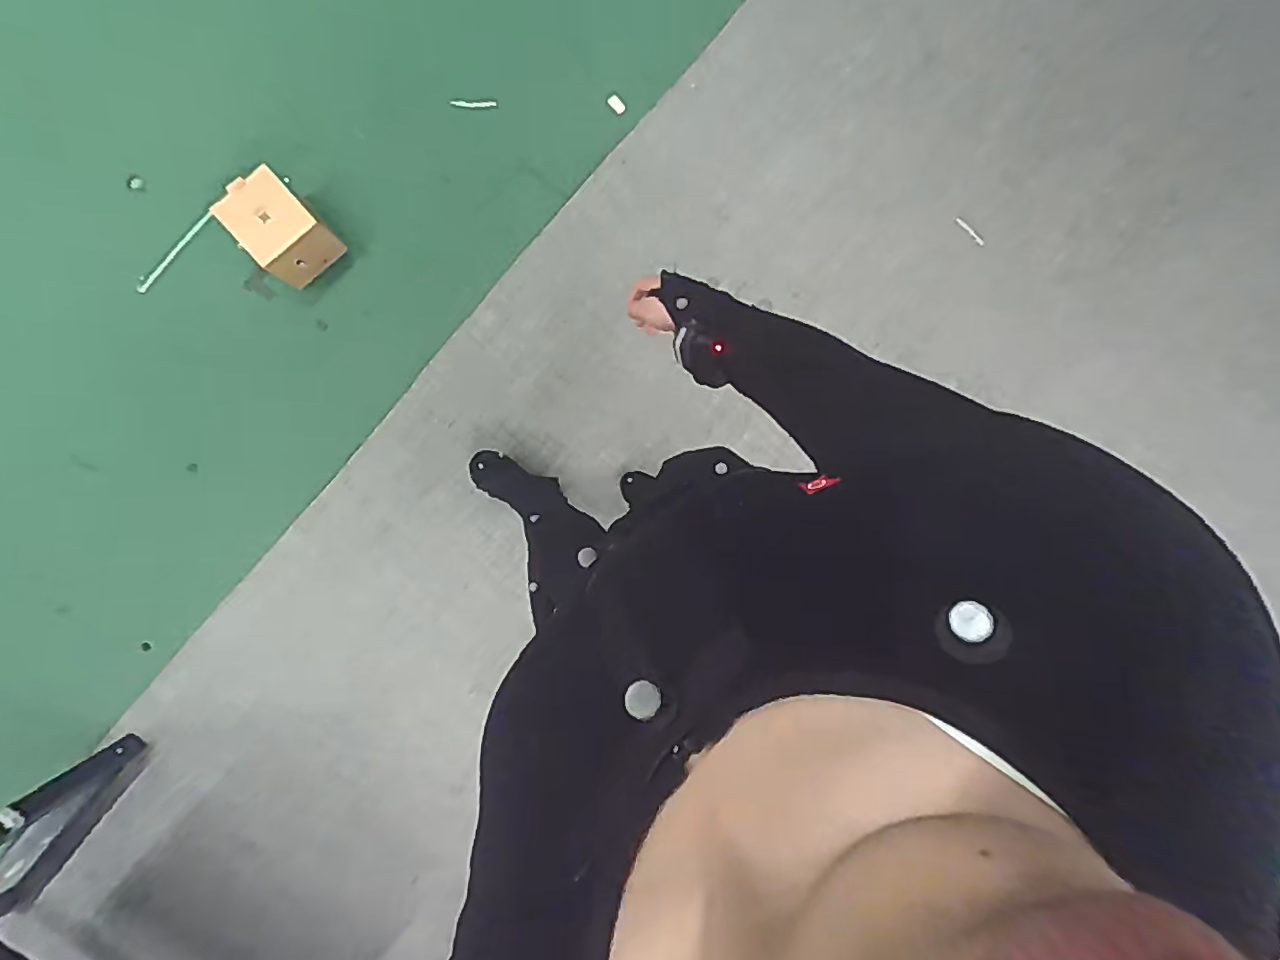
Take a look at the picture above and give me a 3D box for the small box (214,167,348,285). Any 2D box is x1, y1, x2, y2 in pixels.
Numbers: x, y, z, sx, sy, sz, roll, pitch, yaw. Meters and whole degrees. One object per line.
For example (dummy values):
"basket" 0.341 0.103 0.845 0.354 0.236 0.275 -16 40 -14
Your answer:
"small box" -0.854 -0.598 1.308 0.168 0.176 0.179 -42 94 -2
